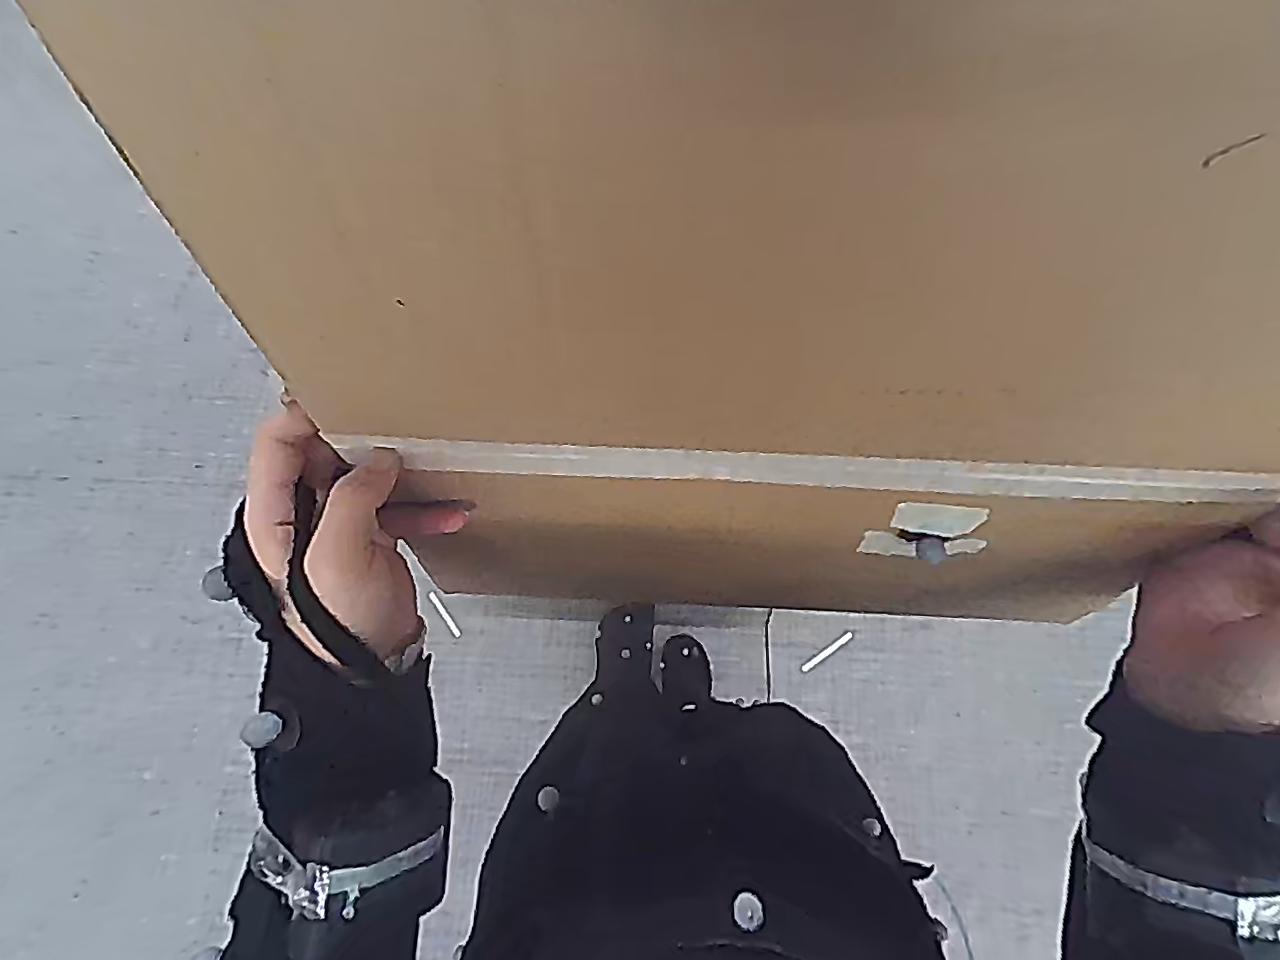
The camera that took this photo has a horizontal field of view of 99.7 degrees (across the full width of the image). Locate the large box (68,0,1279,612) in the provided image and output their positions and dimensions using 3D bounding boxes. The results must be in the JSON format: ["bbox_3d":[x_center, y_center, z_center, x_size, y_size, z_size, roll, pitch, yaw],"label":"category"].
[{"bbox_3d":[0.069,-0.129,0.322,0.408,0.320,0.320,1,55,1],"label":"large box"}]
